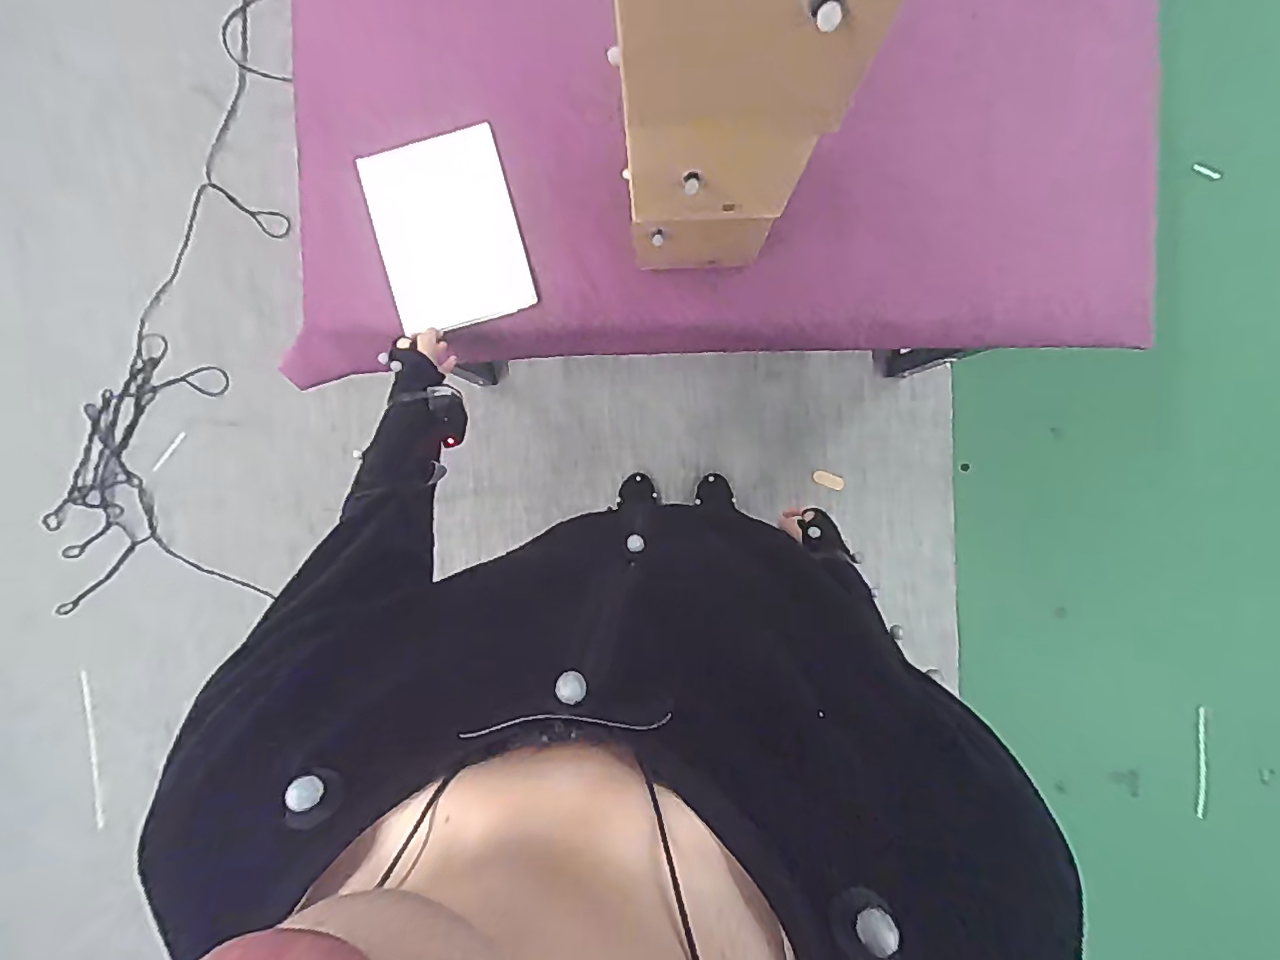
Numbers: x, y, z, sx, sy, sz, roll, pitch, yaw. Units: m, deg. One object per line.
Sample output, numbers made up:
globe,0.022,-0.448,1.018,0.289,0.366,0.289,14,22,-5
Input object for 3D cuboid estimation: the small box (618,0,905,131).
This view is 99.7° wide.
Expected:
small box,0.077,-0.367,0.363,0.179,0.176,0.168,2,90,2

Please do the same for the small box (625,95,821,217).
small box,0.072,-0.376,0.528,0.168,0.176,0.179,-1,91,1
